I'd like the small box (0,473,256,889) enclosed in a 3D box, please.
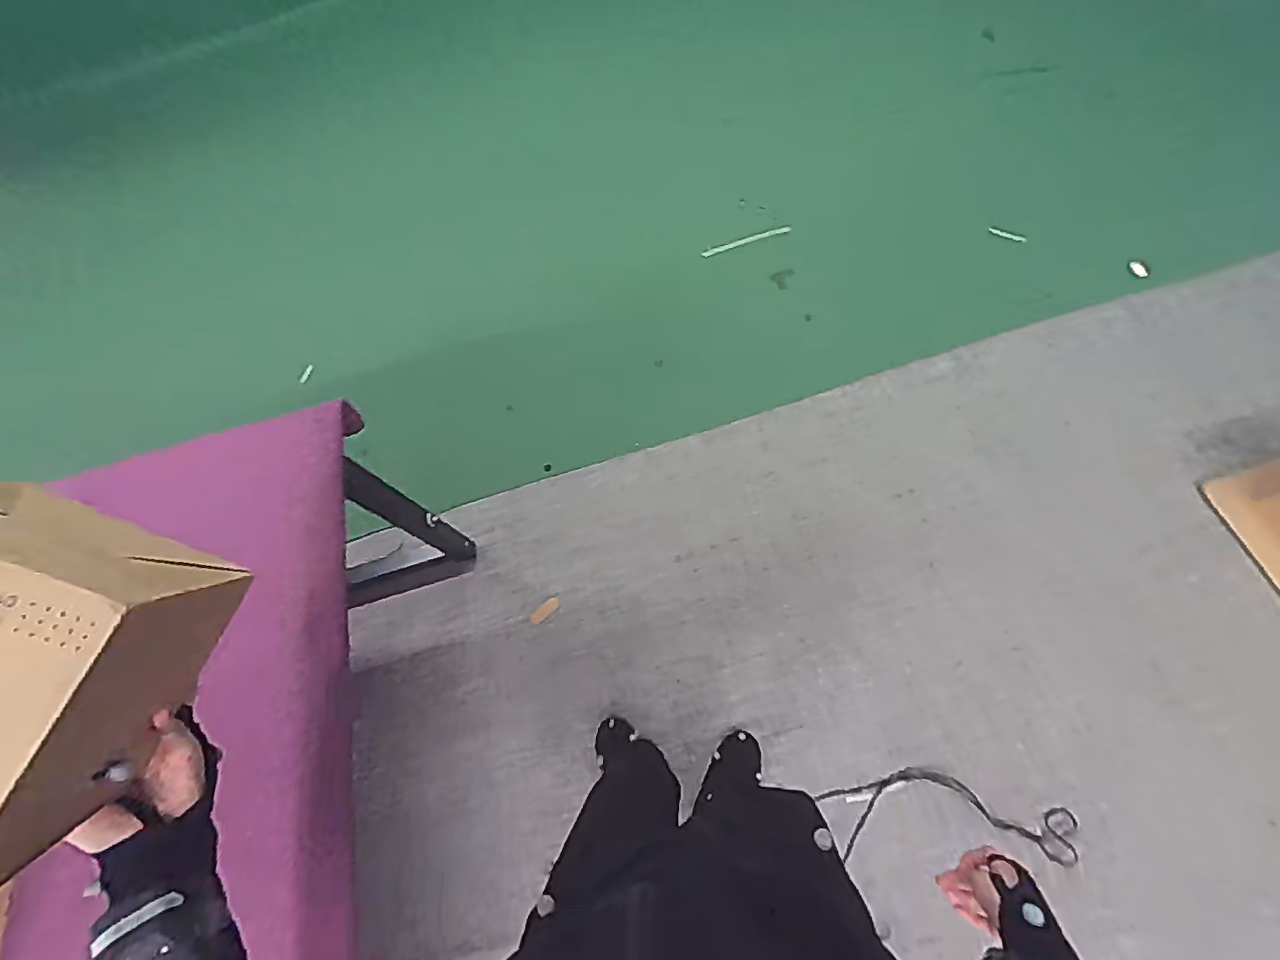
[{"bbox_3d":[-0.369,0.099,0.310,0.168,0.179,0.176,28,77,-14],"label":"small box"}]

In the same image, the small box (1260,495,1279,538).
[{"bbox_3d":[1.571,0.077,1.205,0.179,0.176,0.168,-19,65,-1],"label":"small box"}]
